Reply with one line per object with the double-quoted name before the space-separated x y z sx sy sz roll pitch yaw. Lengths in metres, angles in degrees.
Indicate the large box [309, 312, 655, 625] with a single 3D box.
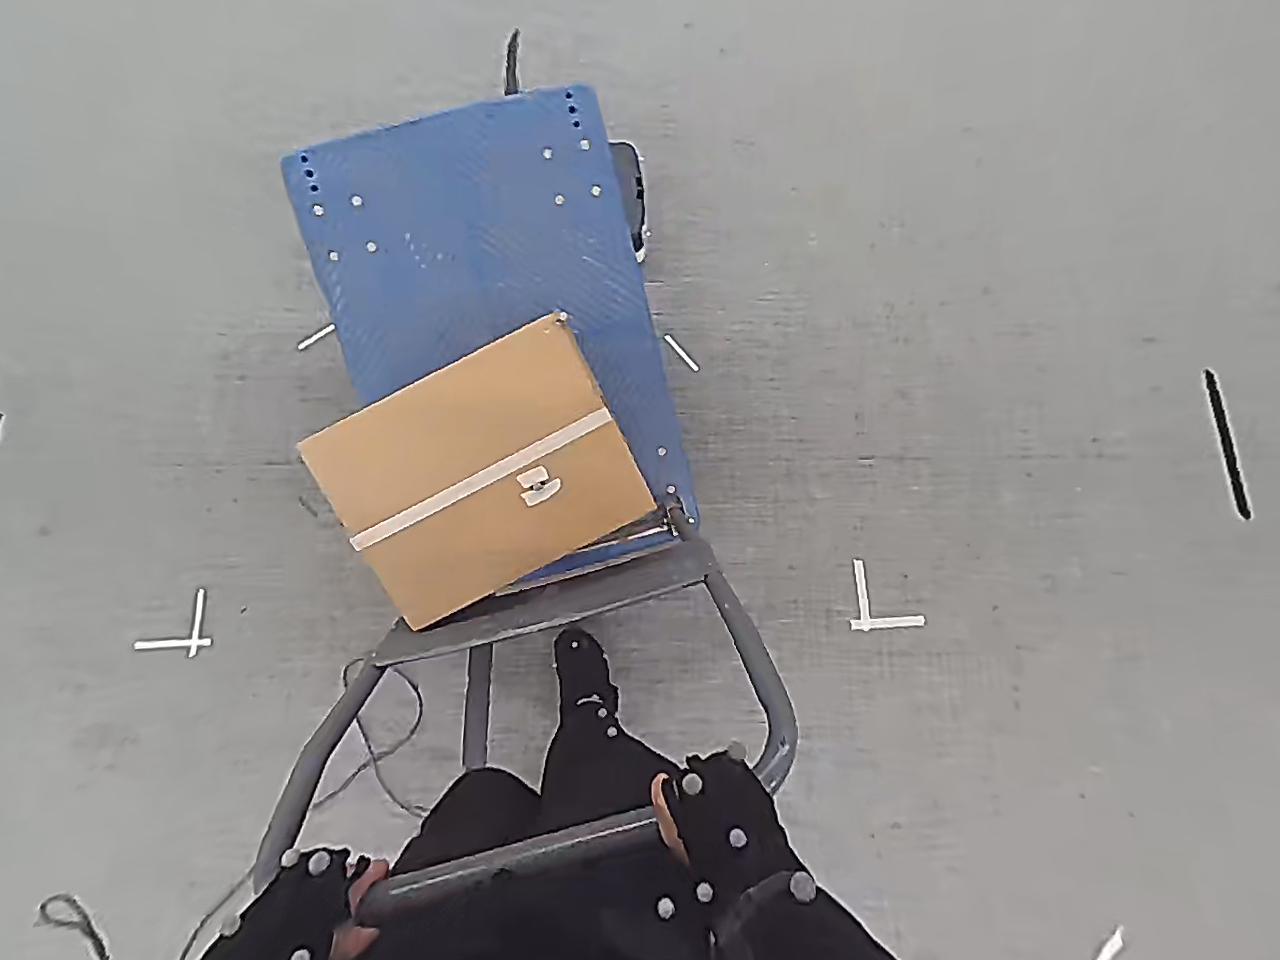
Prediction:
"large box" -0.232 -0.029 0.917 0.408 0.320 0.320 -27 101 -1
